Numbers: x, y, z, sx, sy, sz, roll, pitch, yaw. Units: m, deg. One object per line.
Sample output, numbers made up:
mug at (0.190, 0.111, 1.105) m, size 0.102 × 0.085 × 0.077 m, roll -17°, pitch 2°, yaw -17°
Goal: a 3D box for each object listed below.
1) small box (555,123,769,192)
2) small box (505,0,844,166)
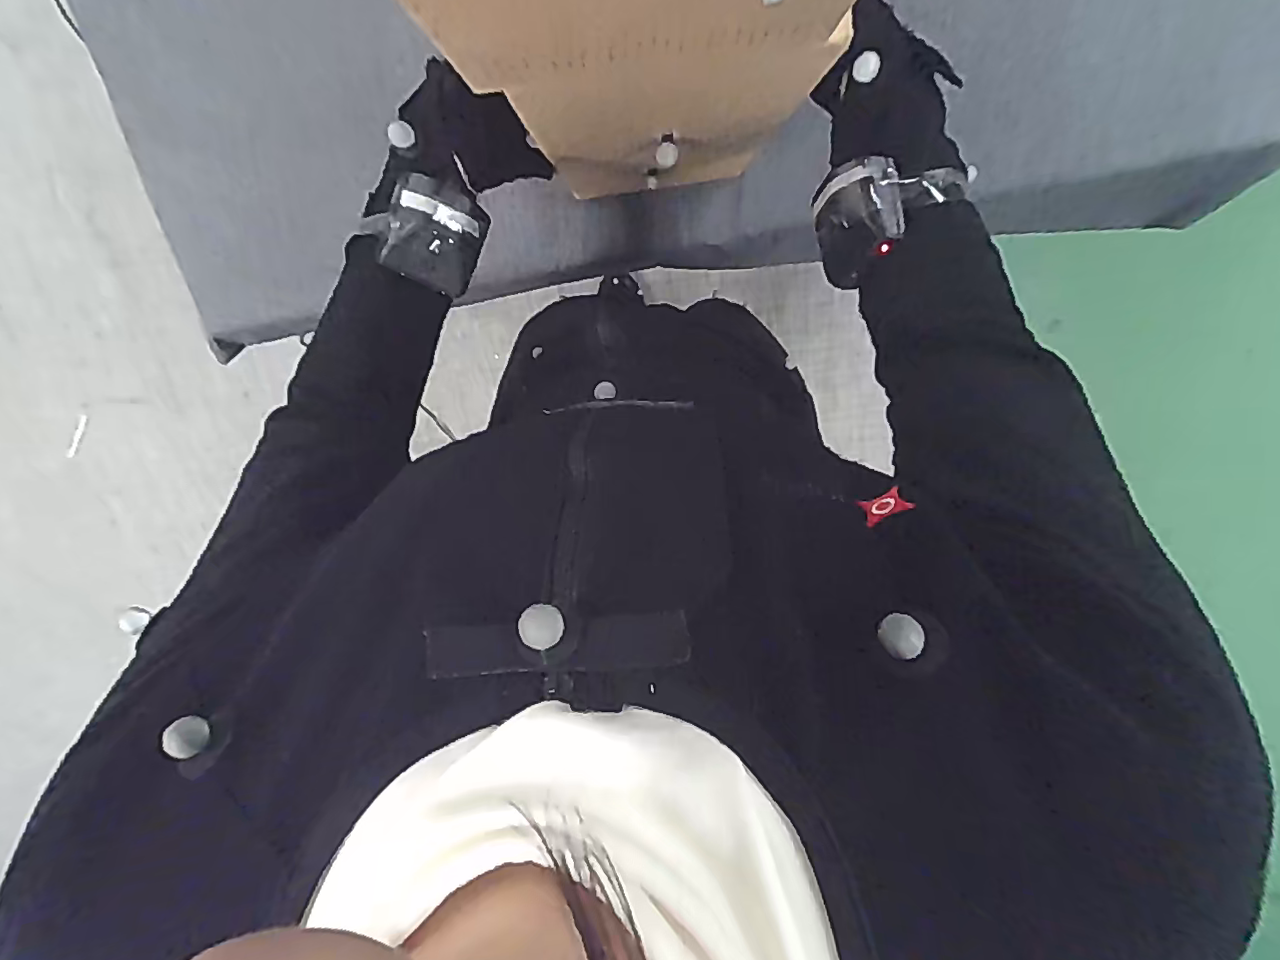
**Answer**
small box at (0.008, -0.363, 0.471) m, size 0.179 × 0.176 × 0.168 m, roll -4°, pitch 107°, yaw 2°
small box at (0.005, -0.305, 0.320) m, size 0.179 × 0.176 × 0.168 m, roll -6°, pitch 107°, yaw 2°
